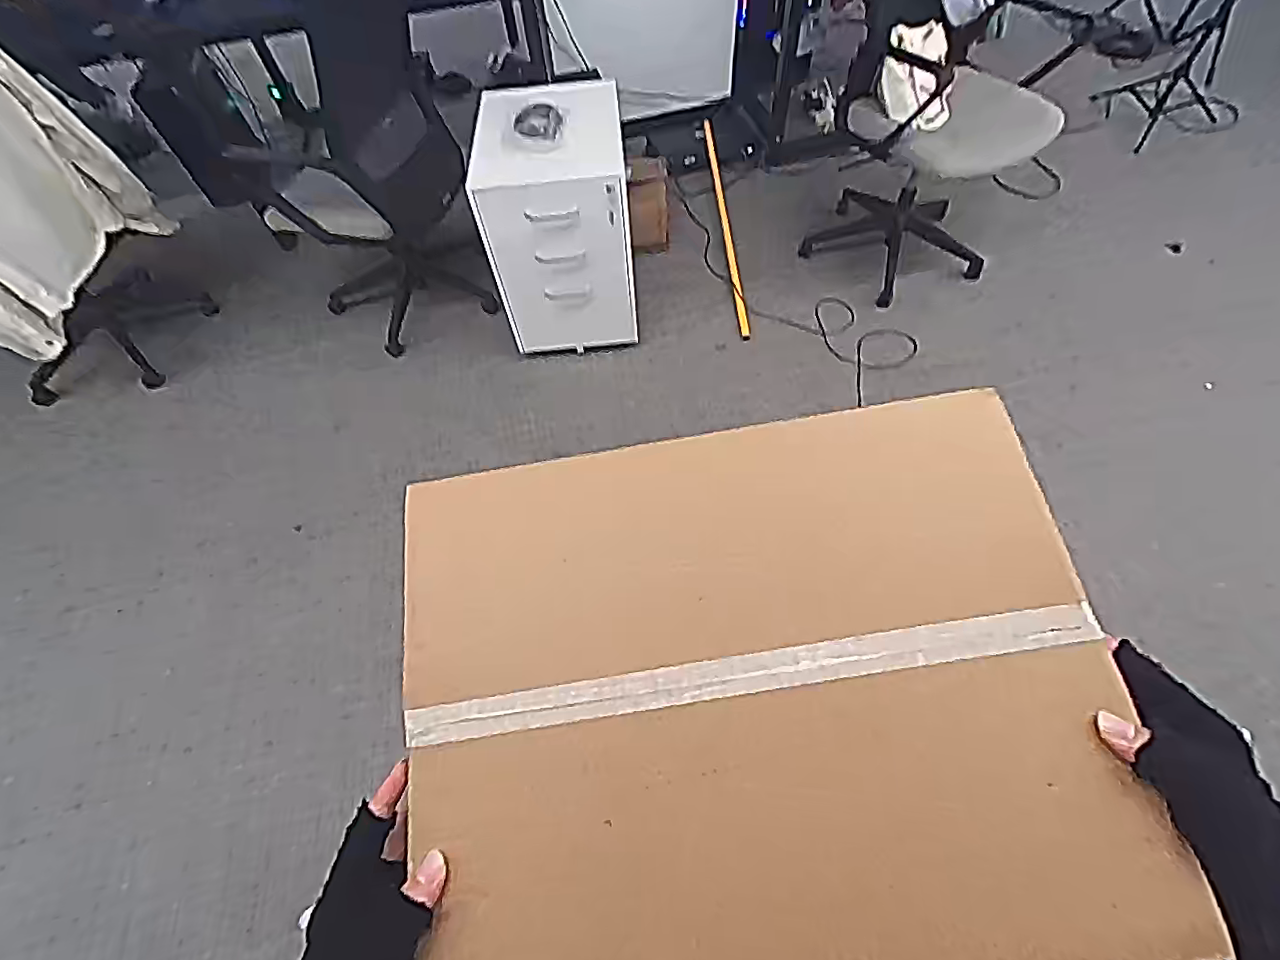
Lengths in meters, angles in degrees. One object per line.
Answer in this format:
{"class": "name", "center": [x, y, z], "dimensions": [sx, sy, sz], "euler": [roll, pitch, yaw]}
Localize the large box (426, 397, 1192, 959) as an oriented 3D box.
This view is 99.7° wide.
{"class": "large box", "center": [0.076, 0.168, 0.470], "dimensions": [0.408, 0.320, 0.320], "euler": [-10, 71, 2]}
